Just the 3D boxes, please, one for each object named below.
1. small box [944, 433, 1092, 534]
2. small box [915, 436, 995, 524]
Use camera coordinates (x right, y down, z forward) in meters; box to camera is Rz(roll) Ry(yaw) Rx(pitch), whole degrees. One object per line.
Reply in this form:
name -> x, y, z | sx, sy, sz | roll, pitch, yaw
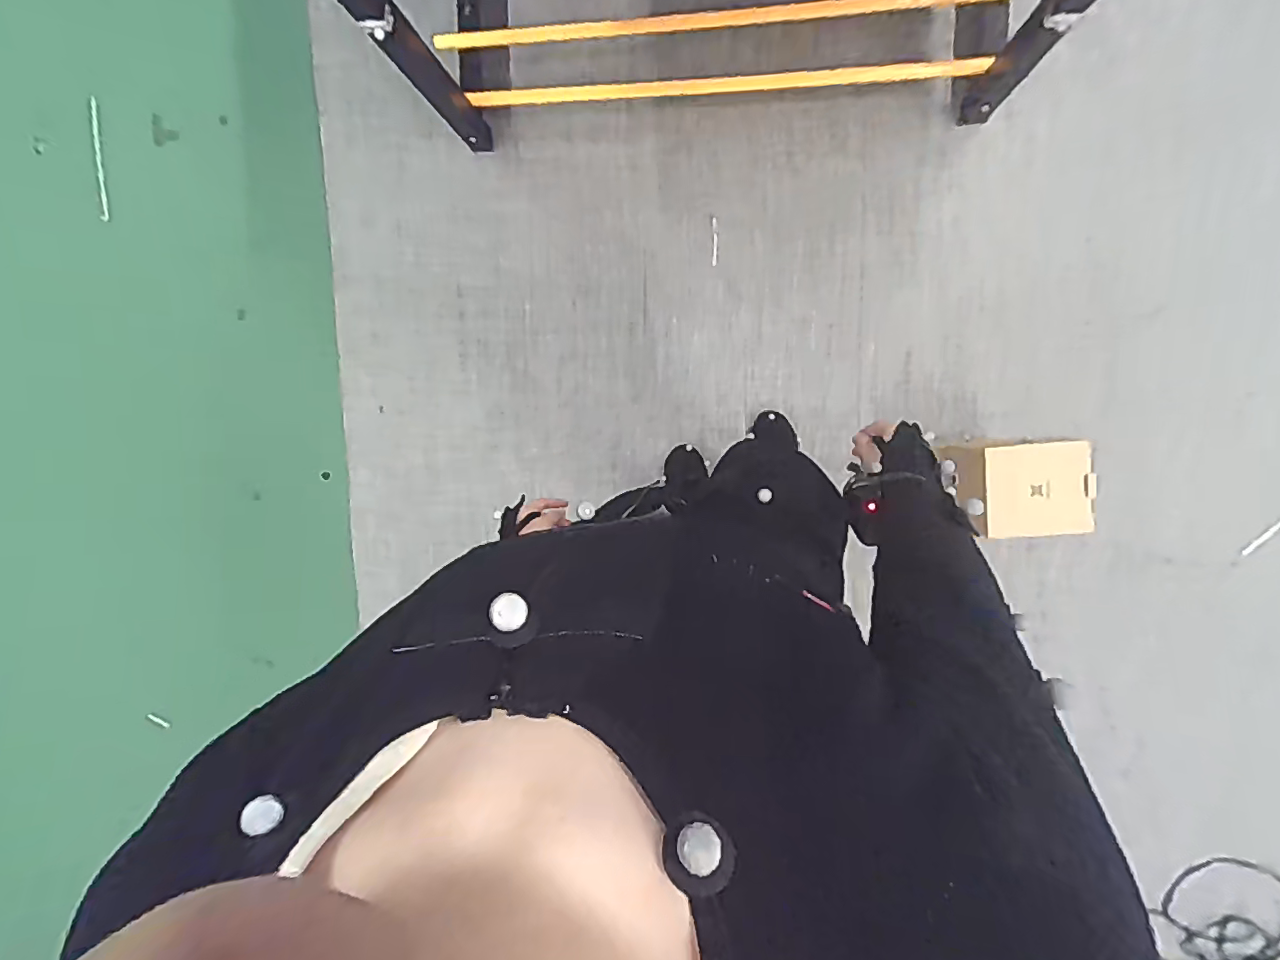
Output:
small box -> 0.709, 0.001, 1.031 | 0.179, 0.176, 0.168 | -6, 94, 9
small box -> 0.725, -0.006, 1.194 | 0.168, 0.176, 0.179 | -5, 95, 8
